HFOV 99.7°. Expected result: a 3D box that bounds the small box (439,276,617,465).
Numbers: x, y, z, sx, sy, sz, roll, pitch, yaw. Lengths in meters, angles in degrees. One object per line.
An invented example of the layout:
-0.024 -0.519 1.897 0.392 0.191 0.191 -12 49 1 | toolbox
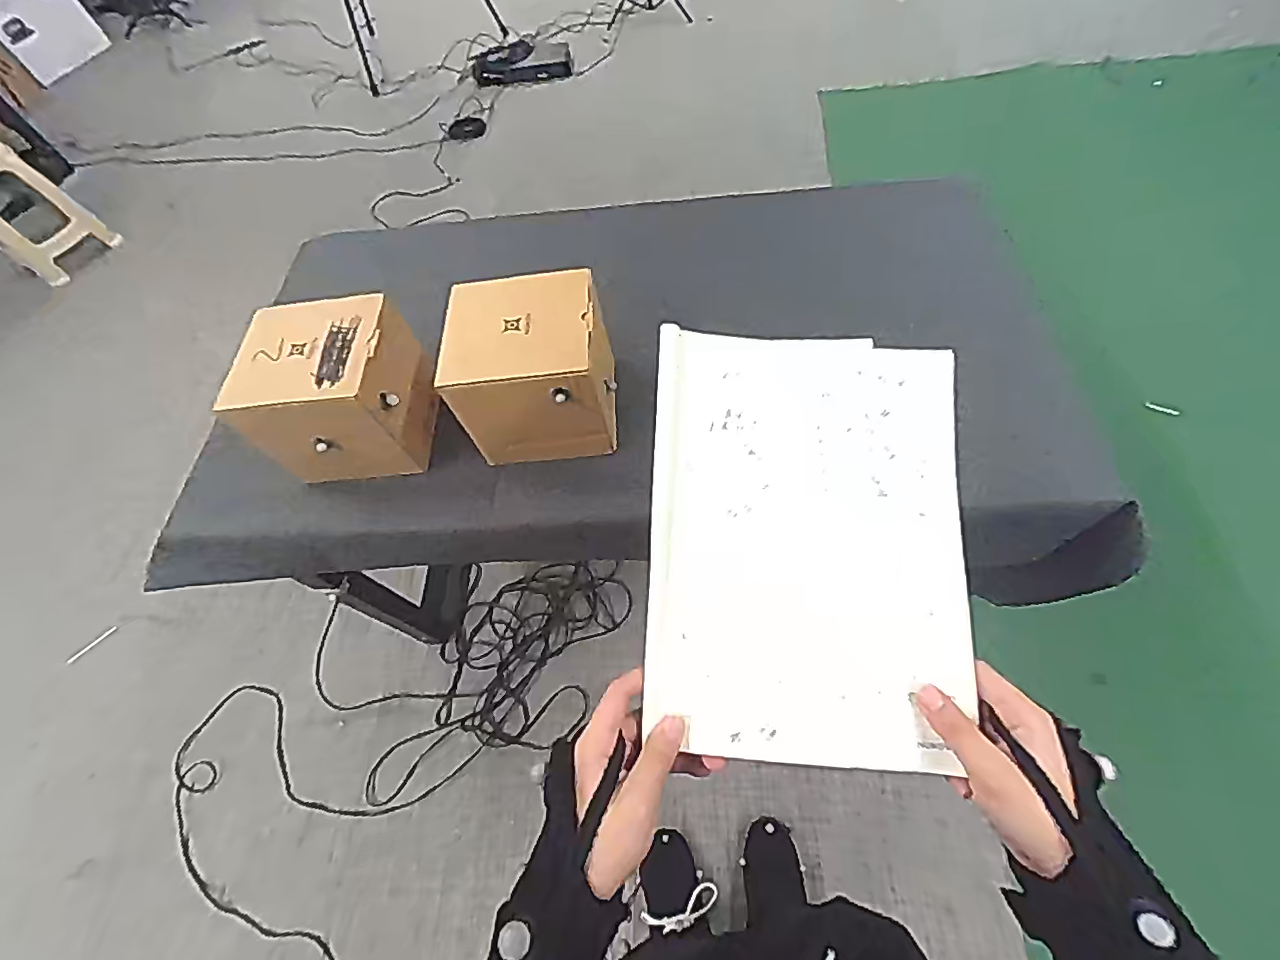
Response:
-0.130 -0.131 0.696 0.179 0.176 0.168 -6 59 4 | small box
